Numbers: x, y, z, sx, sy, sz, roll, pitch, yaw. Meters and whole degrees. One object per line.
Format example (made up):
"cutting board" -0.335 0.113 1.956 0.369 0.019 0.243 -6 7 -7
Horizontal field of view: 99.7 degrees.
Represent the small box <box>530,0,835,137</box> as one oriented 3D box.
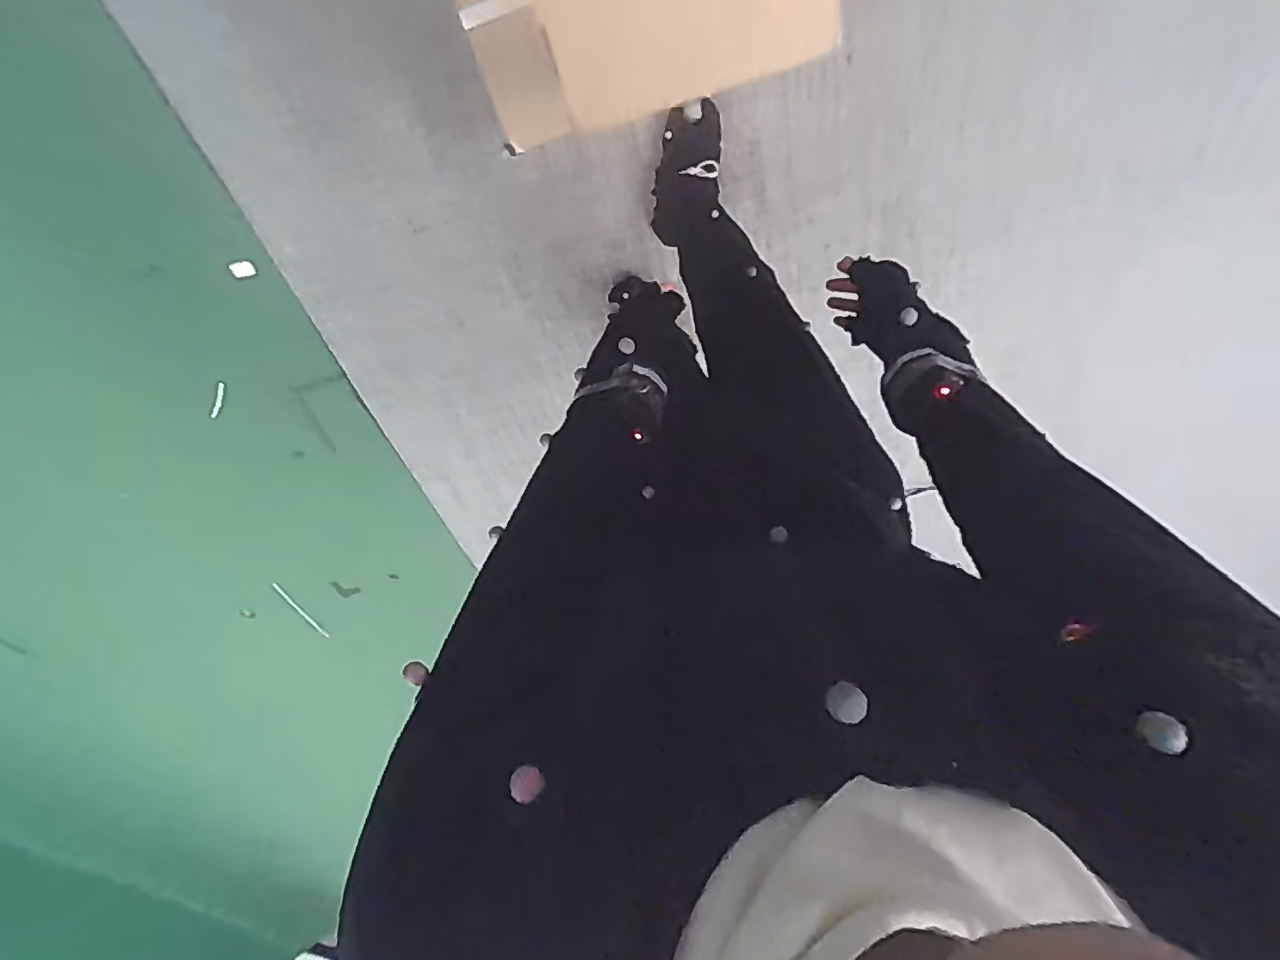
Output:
"small box" 0.015 -0.355 0.361 0.179 0.176 0.168 -14 129 8
